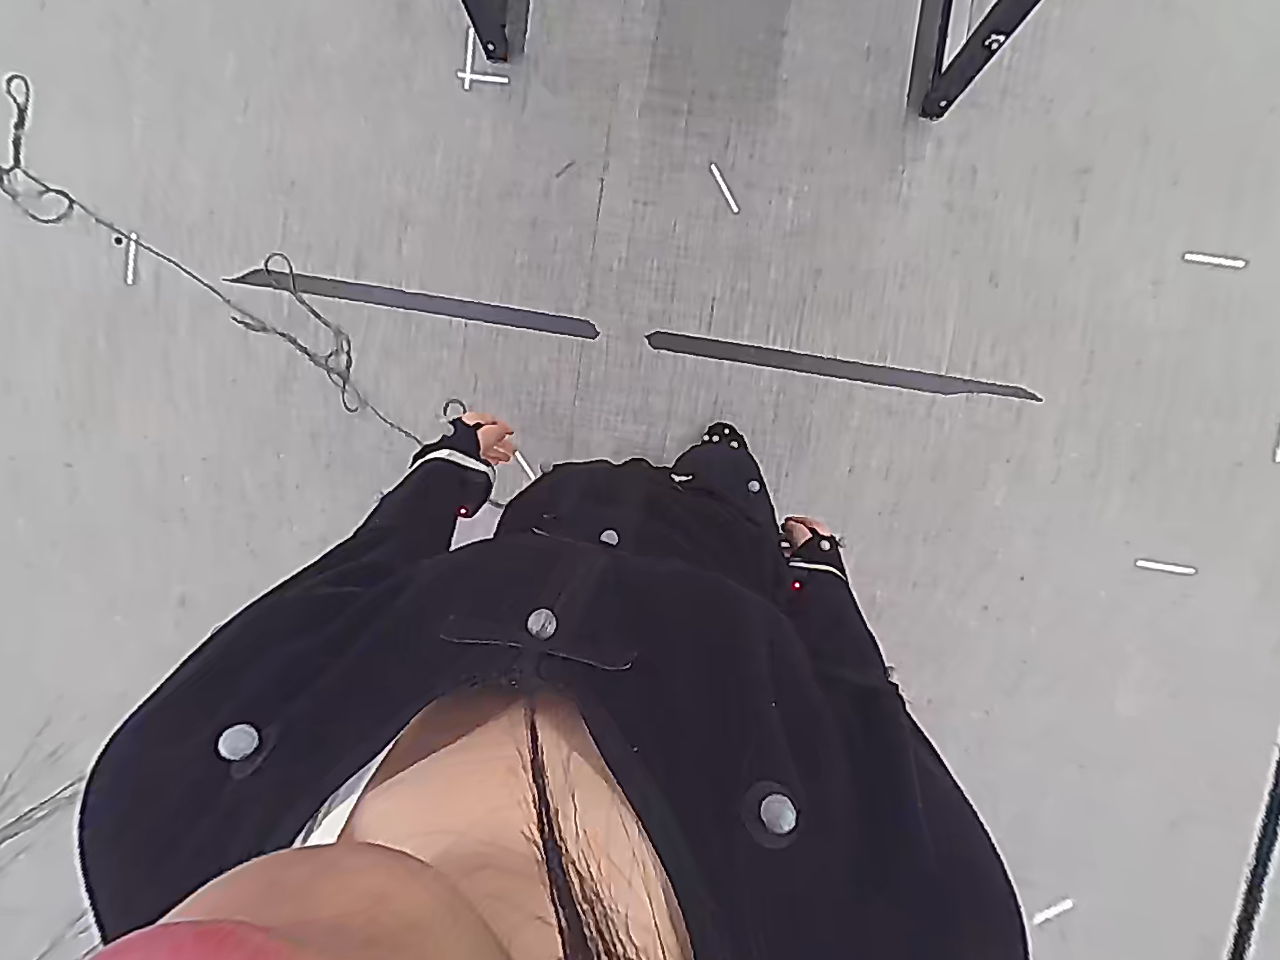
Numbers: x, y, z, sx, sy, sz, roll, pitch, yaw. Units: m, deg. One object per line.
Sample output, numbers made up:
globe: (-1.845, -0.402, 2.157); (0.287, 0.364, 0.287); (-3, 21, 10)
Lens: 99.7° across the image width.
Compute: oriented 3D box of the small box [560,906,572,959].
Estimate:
small box: (-0.123, 1.276, 1.470); (0.168, 0.176, 0.179); (-1, 93, 1)

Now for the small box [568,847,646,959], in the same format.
small box: (-0.073, 1.018, 1.285); (0.168, 0.176, 0.179); (-5, 93, 0)

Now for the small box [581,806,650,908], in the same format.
small box: (-0.062, 1.002, 1.448); (0.168, 0.176, 0.179); (-5, 93, 2)
